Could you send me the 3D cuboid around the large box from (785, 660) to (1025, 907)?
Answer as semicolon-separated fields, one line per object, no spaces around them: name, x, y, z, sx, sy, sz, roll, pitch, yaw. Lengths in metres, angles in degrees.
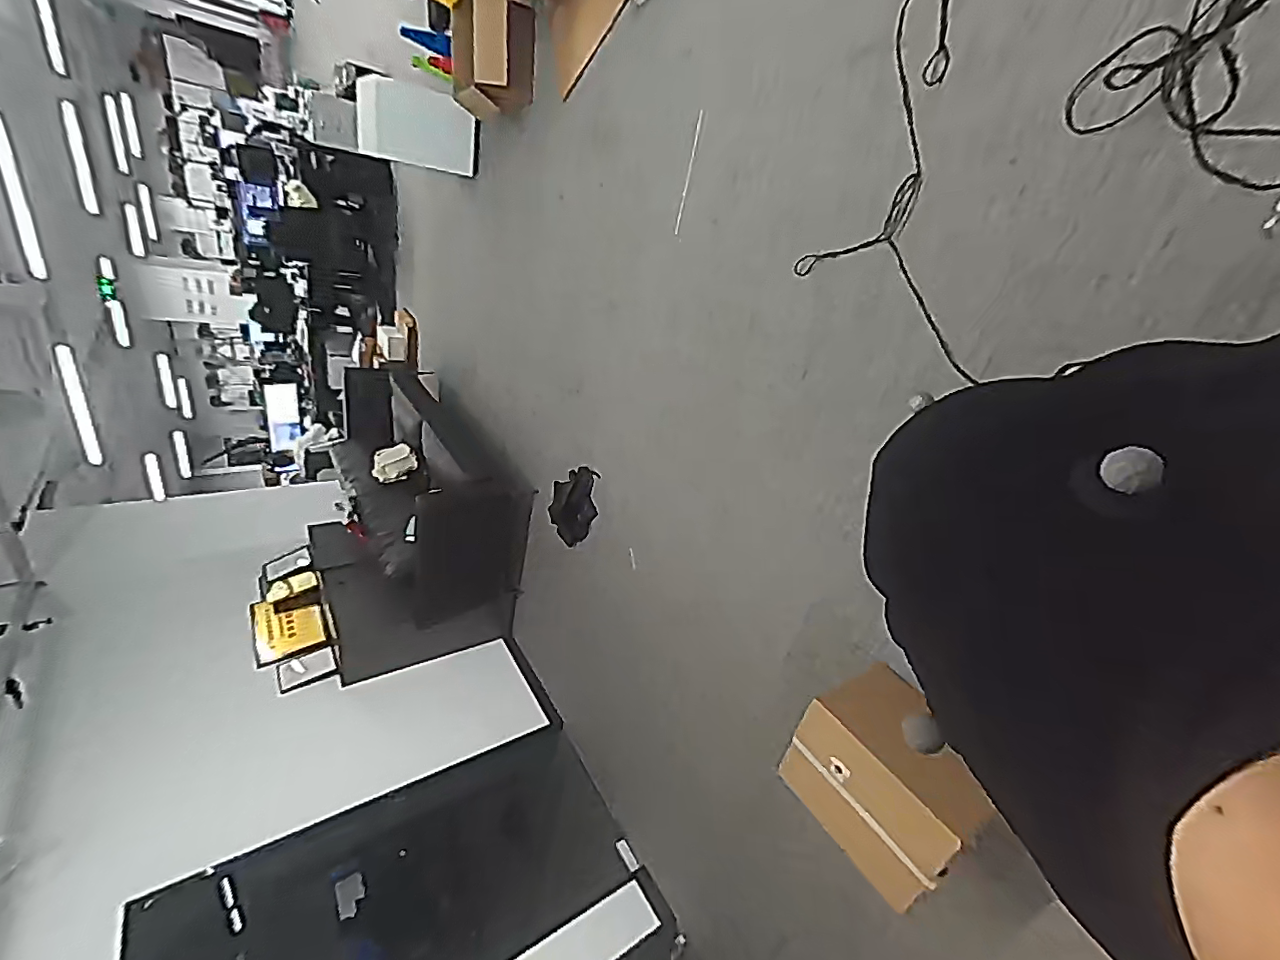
large box;0.666;0.756;1.404;0.408;0.320;0.320;42;129;43
